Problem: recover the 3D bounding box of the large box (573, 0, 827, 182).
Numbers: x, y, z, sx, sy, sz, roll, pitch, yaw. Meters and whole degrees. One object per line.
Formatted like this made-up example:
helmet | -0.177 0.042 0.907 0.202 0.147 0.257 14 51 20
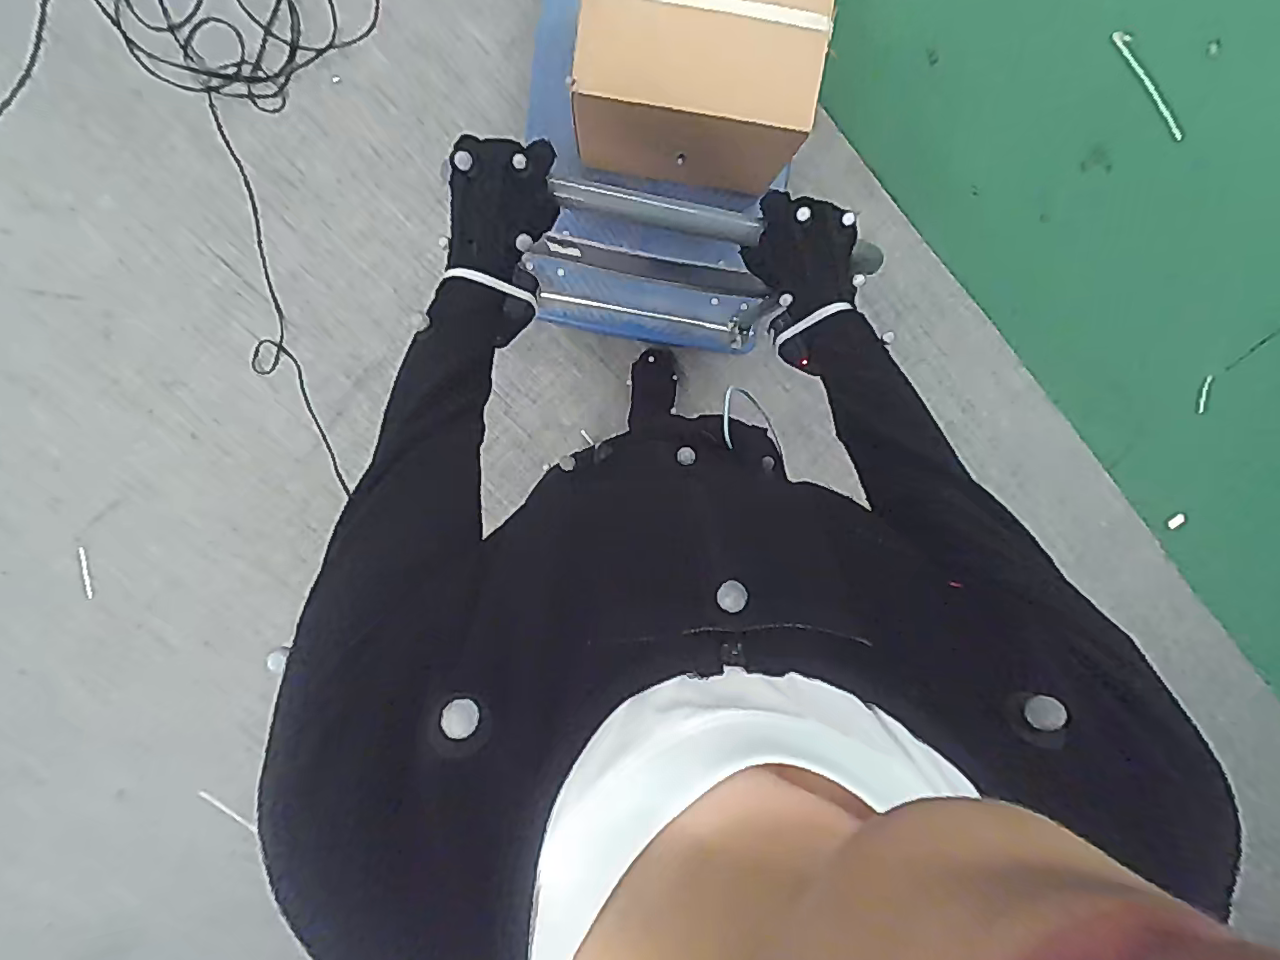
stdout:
large box | 0.099 -0.794 1.015 0.408 0.320 0.320 6 99 -3
